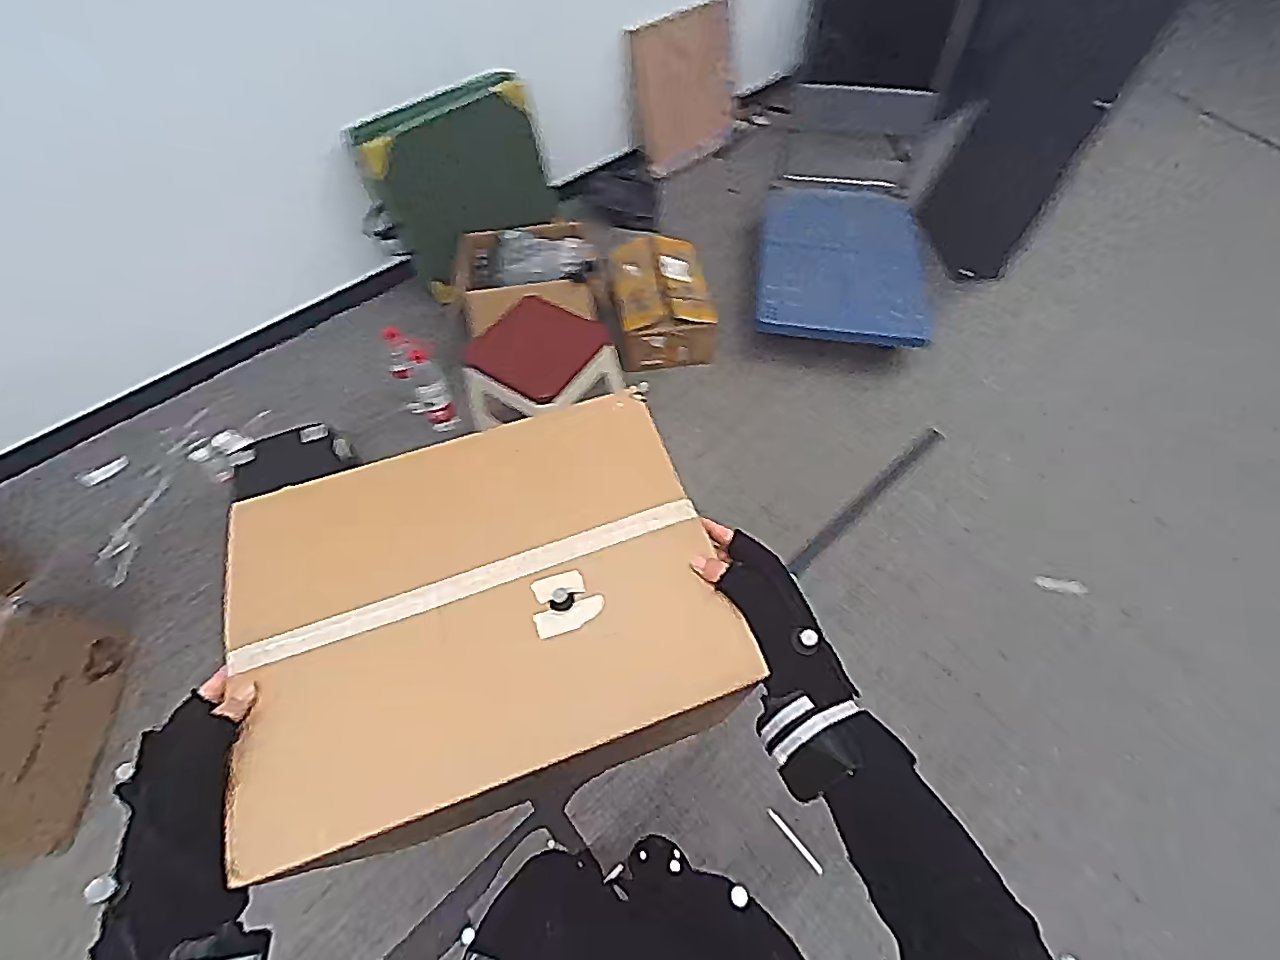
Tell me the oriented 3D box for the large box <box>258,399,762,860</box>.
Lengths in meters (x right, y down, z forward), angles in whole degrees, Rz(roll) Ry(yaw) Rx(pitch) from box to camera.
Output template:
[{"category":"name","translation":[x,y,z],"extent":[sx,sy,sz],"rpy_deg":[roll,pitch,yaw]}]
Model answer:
[{"category":"large box","translation":[-0.131,0.168,0.613],"extent":[0.408,0.320,0.320],"rpy_deg":[-17,61,-9]}]
